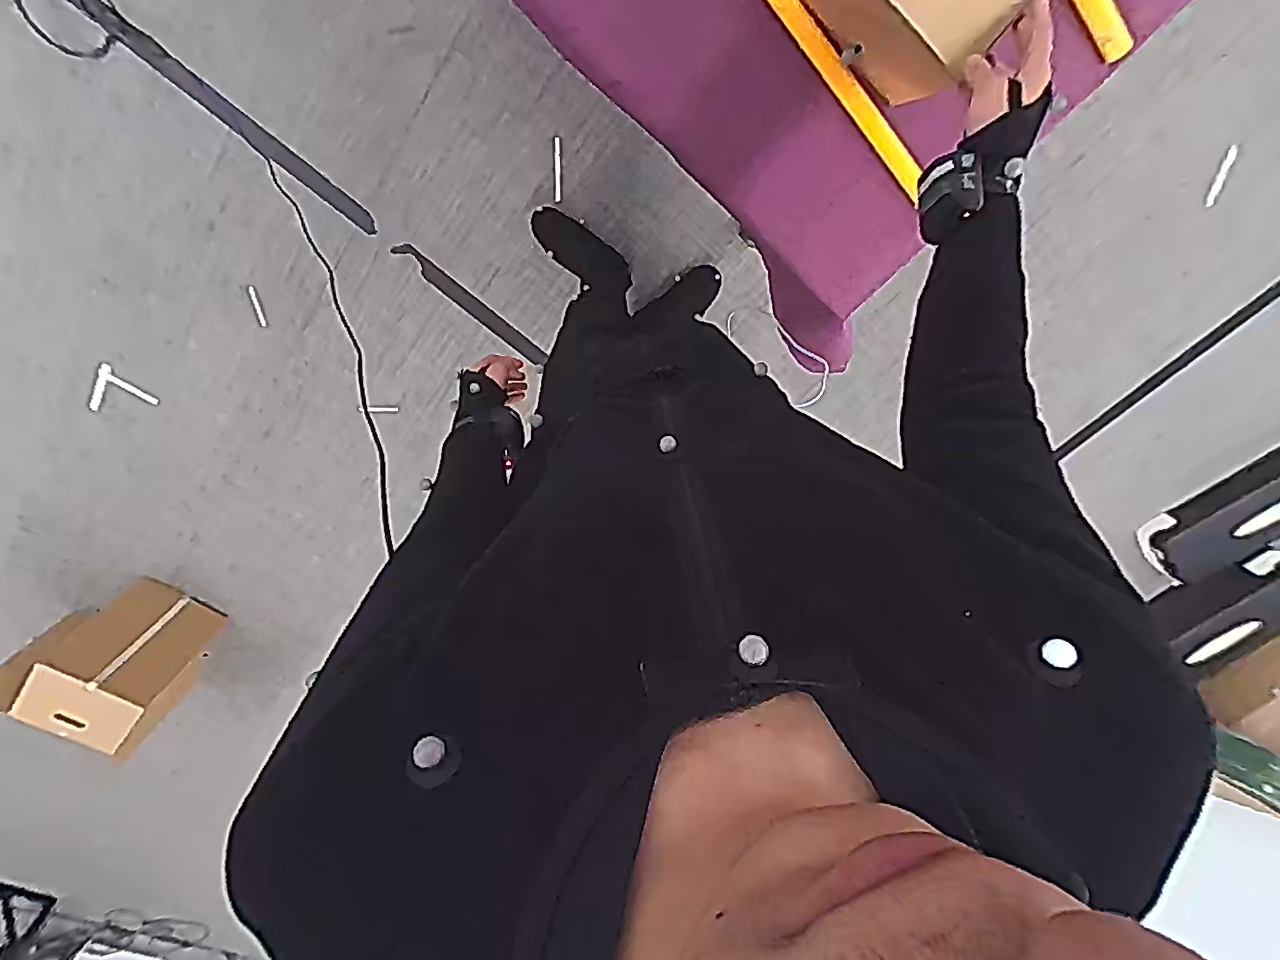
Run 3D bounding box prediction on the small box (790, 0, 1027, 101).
[{"bbox_3d":[0.286,-0.527,0.555,0.179,0.176,0.168,33,114,-18],"label":"small box"}]
